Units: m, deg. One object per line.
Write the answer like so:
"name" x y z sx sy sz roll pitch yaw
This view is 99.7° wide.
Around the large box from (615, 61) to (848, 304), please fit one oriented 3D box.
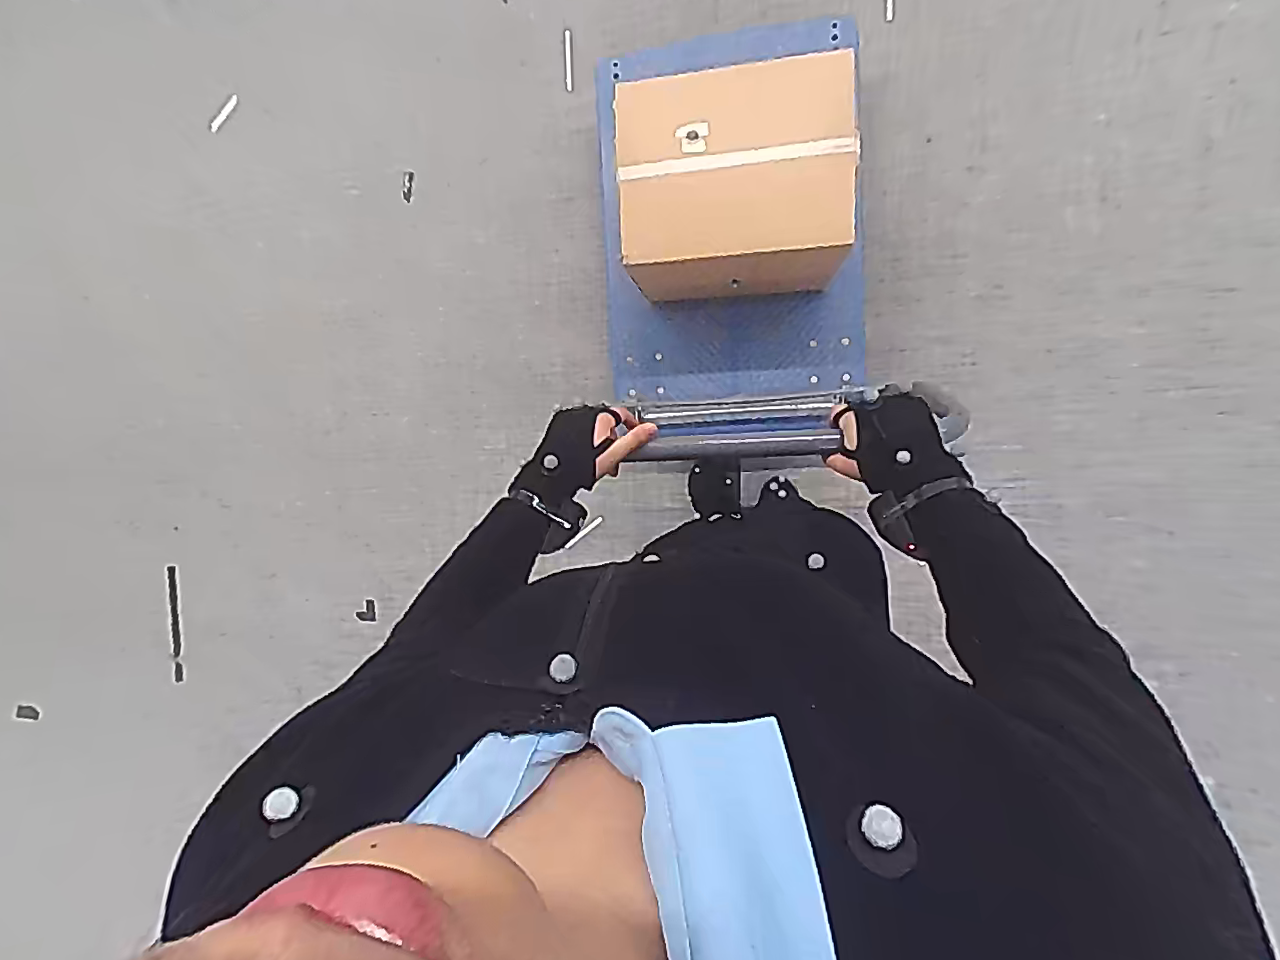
"large box" 0.186 -0.562 1.104 0.408 0.320 0.320 -2 94 11
